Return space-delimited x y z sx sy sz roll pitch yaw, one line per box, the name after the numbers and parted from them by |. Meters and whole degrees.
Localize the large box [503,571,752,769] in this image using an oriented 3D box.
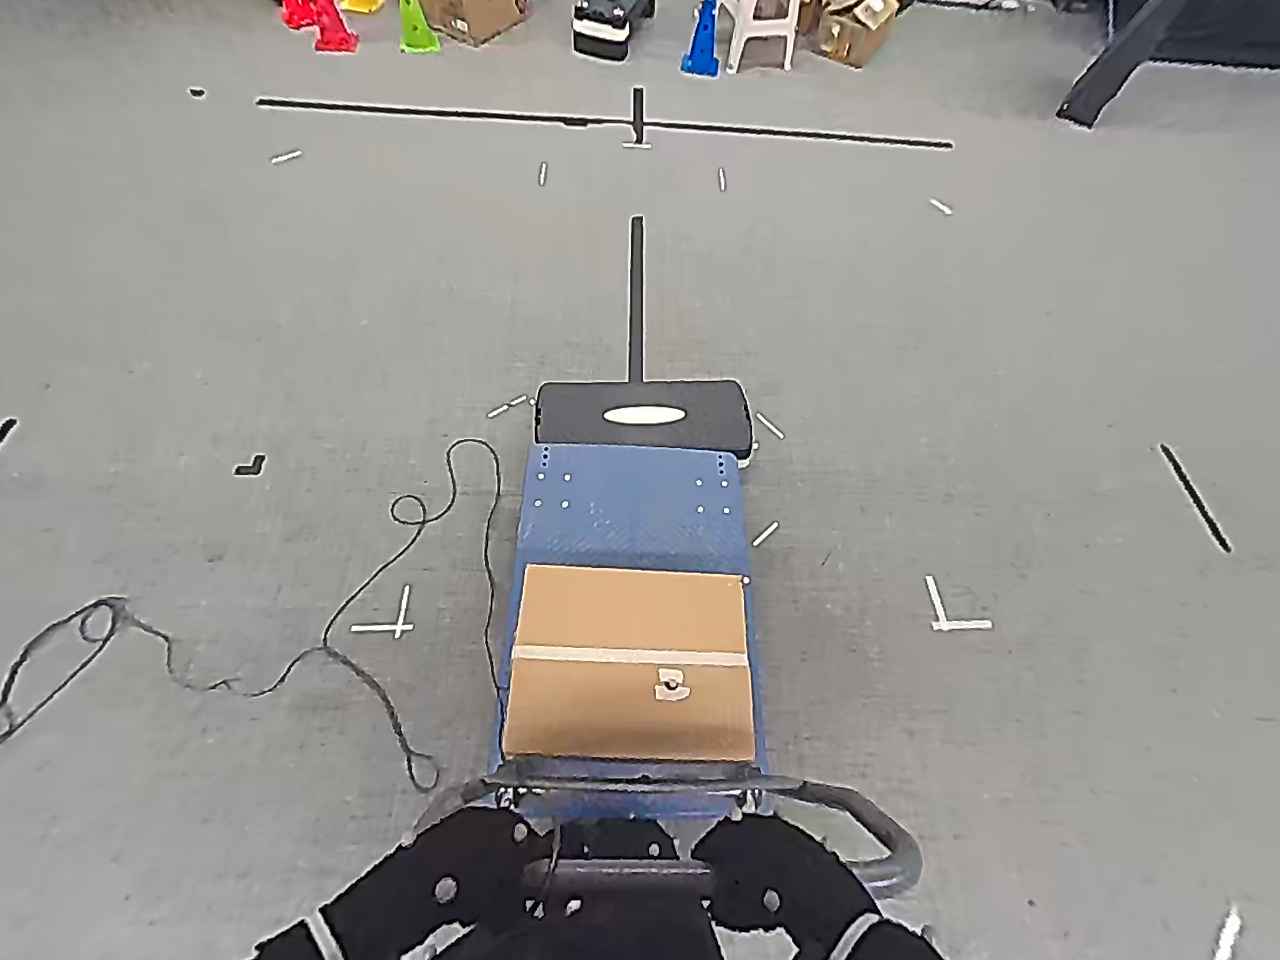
-0.030 0.383 1.053 0.408 0.320 0.320 4 61 -4 | large box
